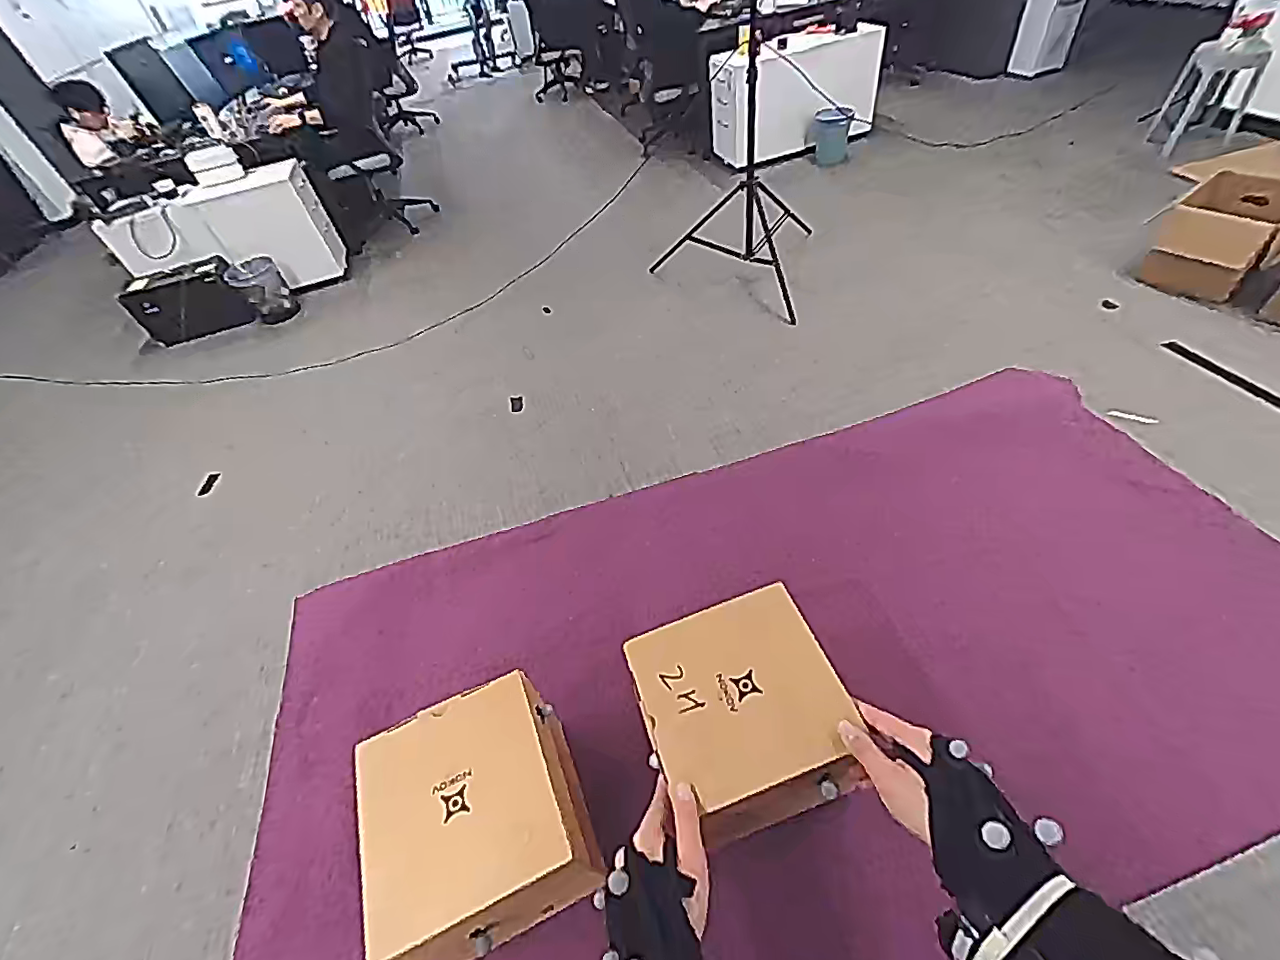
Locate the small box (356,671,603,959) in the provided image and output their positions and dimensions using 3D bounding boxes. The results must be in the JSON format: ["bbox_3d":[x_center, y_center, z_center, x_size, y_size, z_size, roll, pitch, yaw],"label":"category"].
[{"bbox_3d":[-0.149,0.327,0.526,0.168,0.176,0.179,-23,47,-11],"label":"small box"}]

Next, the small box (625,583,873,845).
[{"bbox_3d":[0.102,0.239,0.547,0.179,0.176,0.168,-20,47,-4],"label":"small box"}]
